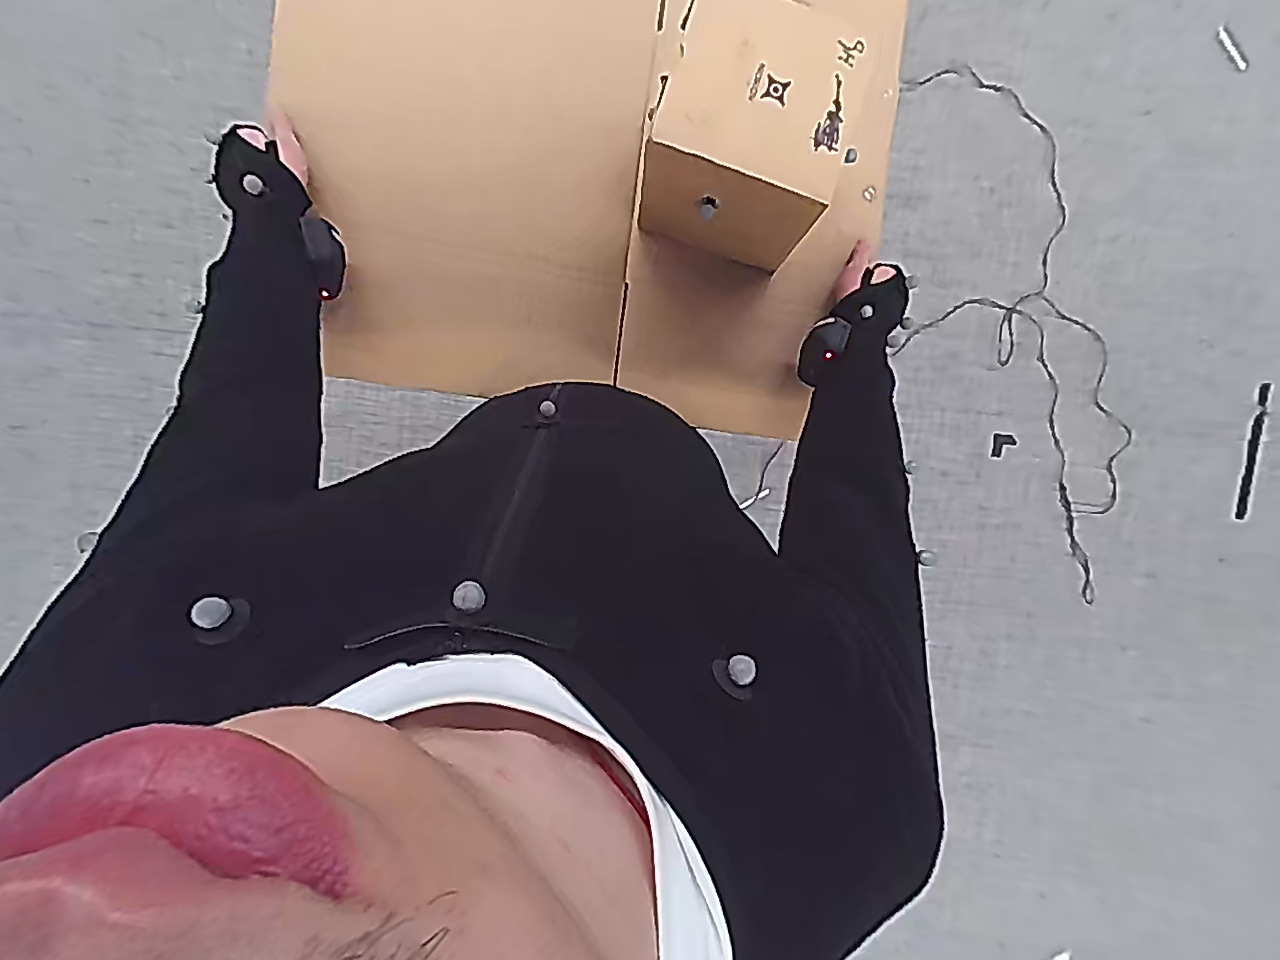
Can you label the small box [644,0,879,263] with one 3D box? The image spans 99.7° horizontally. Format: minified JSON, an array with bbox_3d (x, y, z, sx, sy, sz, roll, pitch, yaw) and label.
[{"bbox_3d":[0.109,-0.355,0.569,0.179,0.176,0.168,18,90,-2],"label":"small box"}]
